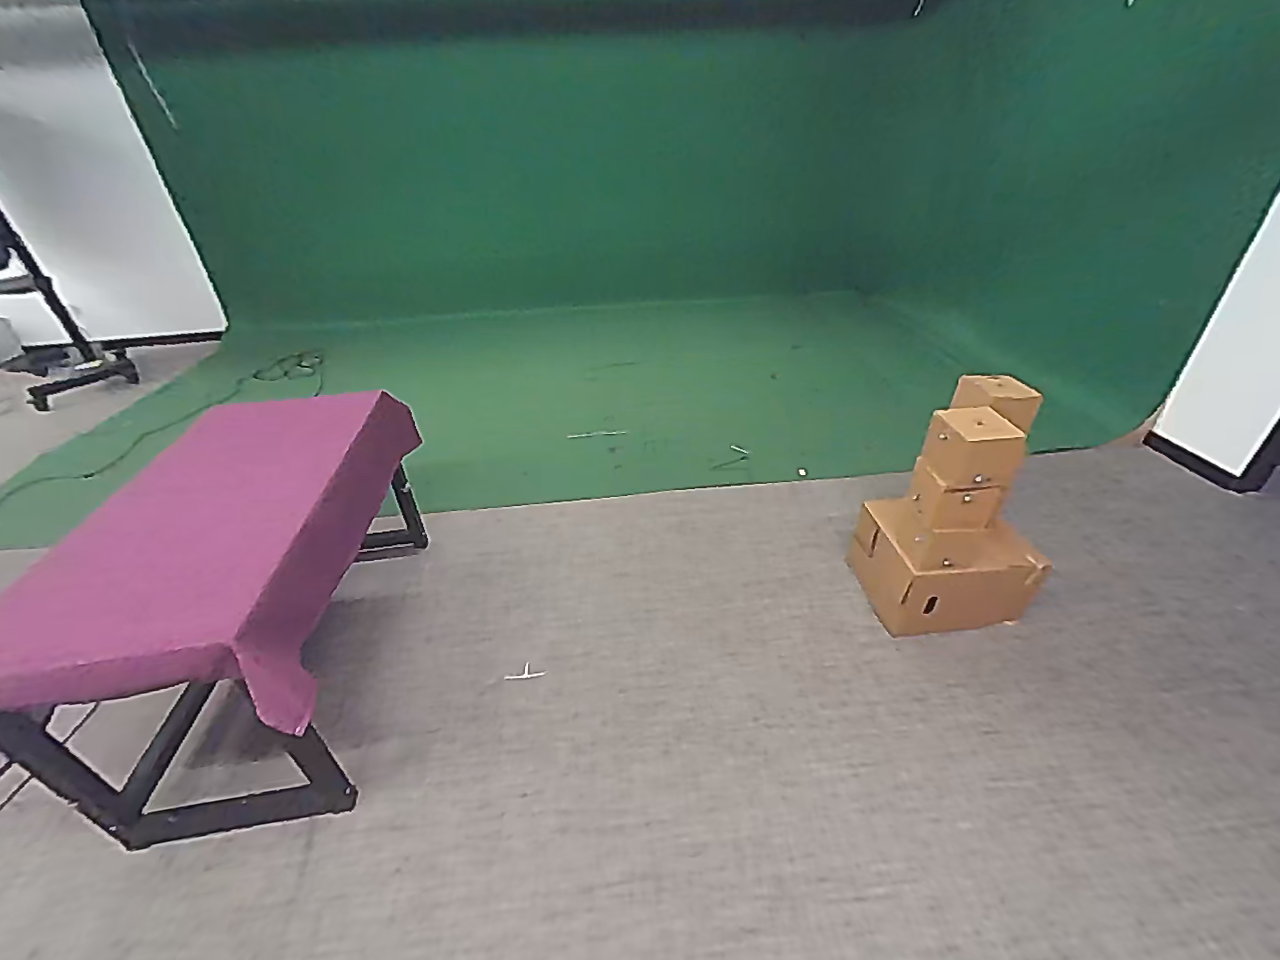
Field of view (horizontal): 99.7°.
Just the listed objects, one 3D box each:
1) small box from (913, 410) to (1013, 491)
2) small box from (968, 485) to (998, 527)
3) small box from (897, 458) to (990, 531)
[{"bbox_3d":[0.927,-0.087,1.572,0.168,0.176,0.179,-5,36,-3],"label":"small box"},{"bbox_3d":[1.130,0.058,1.947,0.179,0.176,0.168,-1,33,-5],"label":"small box"},{"bbox_3d":[0.928,0.043,1.670,0.179,0.176,0.168,-2,35,0],"label":"small box"}]
